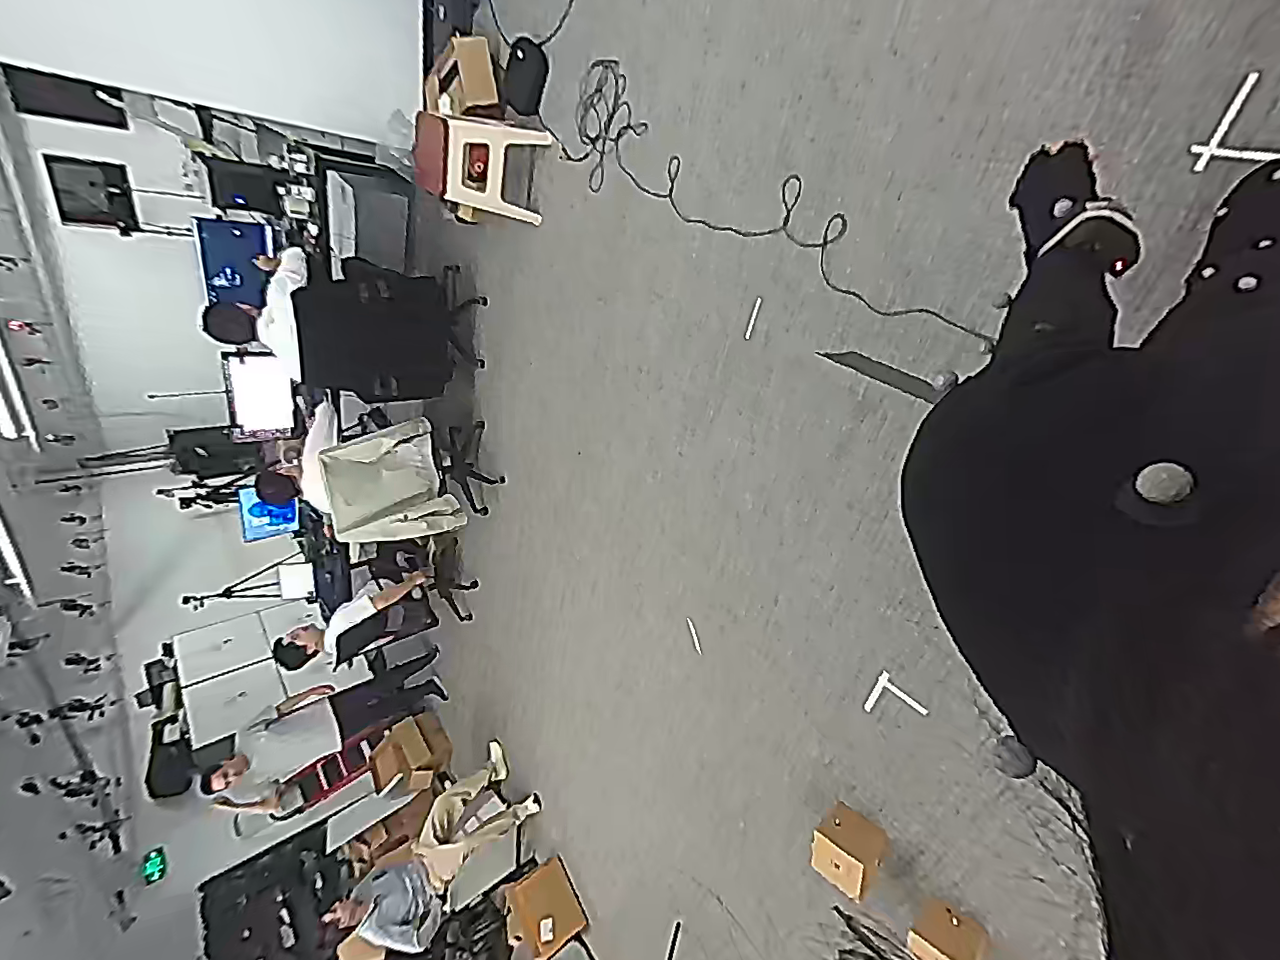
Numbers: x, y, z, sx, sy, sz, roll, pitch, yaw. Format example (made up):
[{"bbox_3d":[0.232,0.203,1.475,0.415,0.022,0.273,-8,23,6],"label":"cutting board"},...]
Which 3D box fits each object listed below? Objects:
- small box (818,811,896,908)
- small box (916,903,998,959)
[{"bbox_3d":[0.723,1.252,1.802,0.179,0.176,0.168,16,113,46],"label":"small box"},{"bbox_3d":[0.935,1.424,1.599,0.168,0.176,0.179,15,111,46],"label":"small box"}]
